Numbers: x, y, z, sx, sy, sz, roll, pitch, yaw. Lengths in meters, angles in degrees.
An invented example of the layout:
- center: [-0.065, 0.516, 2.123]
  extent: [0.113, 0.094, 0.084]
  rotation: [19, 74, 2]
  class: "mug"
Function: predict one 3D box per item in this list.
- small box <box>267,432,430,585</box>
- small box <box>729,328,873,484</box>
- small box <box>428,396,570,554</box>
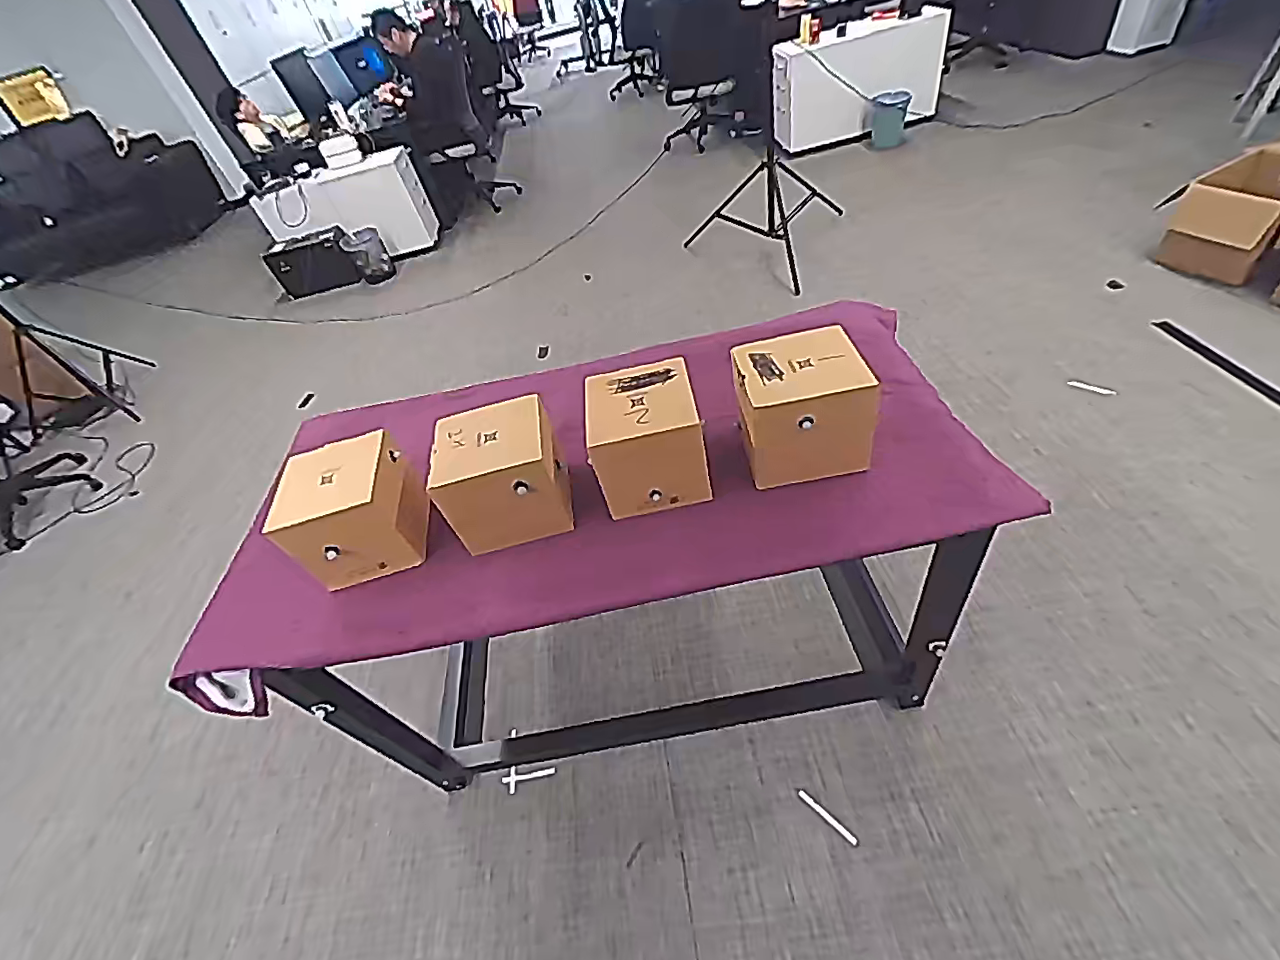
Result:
- center: [-0.469, 0.055, 0.902]
  extent: [0.168, 0.176, 0.179]
  rotation: [-17, 44, -1]
  class: "small box"
- center: [0.248, -0.112, 0.855]
  extent: [0.179, 0.176, 0.168]
  rotation: [-11, 44, 5]
  class: "small box"
- center: [-0.220, -0.006, 0.887]
  extent: [0.179, 0.176, 0.168]
  rotation: [-15, 44, 1]
  class: "small box"
